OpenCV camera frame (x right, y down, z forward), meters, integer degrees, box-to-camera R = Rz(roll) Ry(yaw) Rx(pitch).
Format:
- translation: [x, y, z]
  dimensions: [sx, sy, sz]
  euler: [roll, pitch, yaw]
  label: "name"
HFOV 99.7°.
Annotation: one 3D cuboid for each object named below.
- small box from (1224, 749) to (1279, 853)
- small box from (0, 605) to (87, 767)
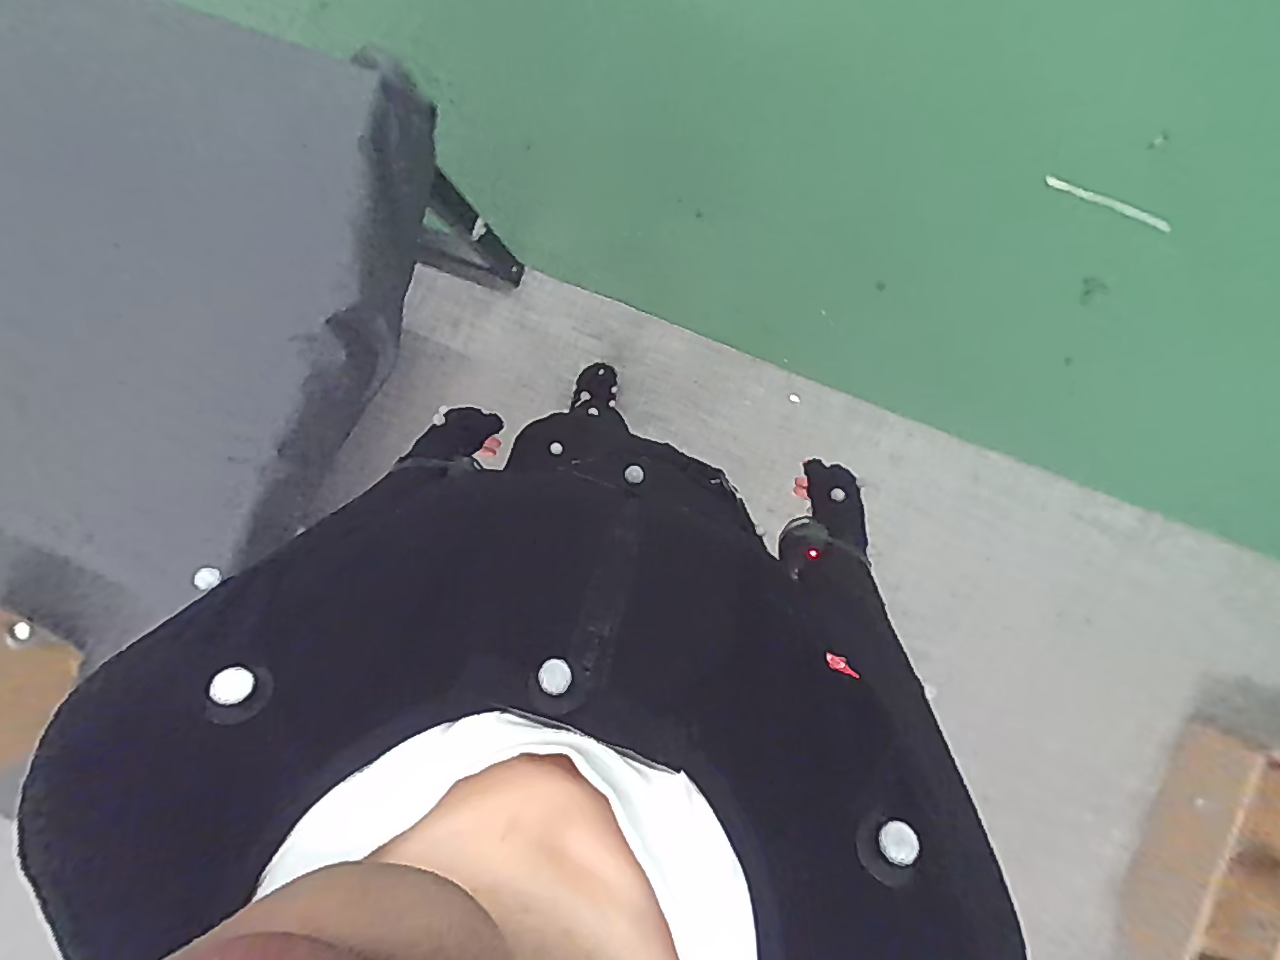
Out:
- translation: [1.531, 0.765, 1.249]
  dimensions: [0.168, 0.176, 0.179]
  euler: [13, 95, 3]
  label: "small box"
- translation: [-0.929, 0.297, 0.736]
  dimensions: [0.168, 0.176, 0.179]
  euler: [24, 93, 2]
  label: "small box"
